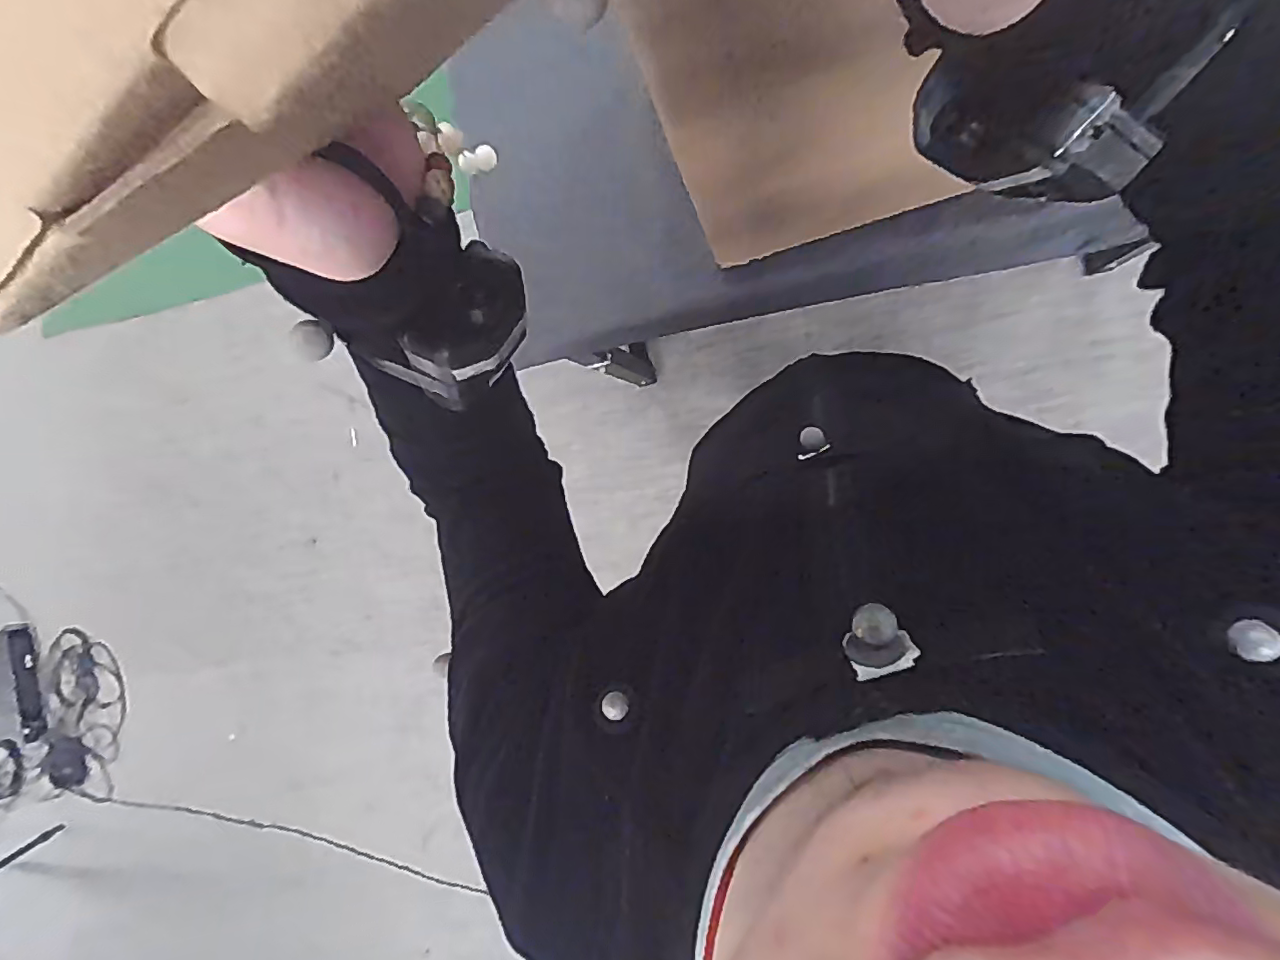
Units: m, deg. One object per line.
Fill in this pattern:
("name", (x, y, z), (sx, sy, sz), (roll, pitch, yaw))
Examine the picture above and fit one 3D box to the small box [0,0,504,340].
("small box", (-0.067, -0.155, 0.053), (0.168, 0.176, 0.179), (-20, 130, 25))
